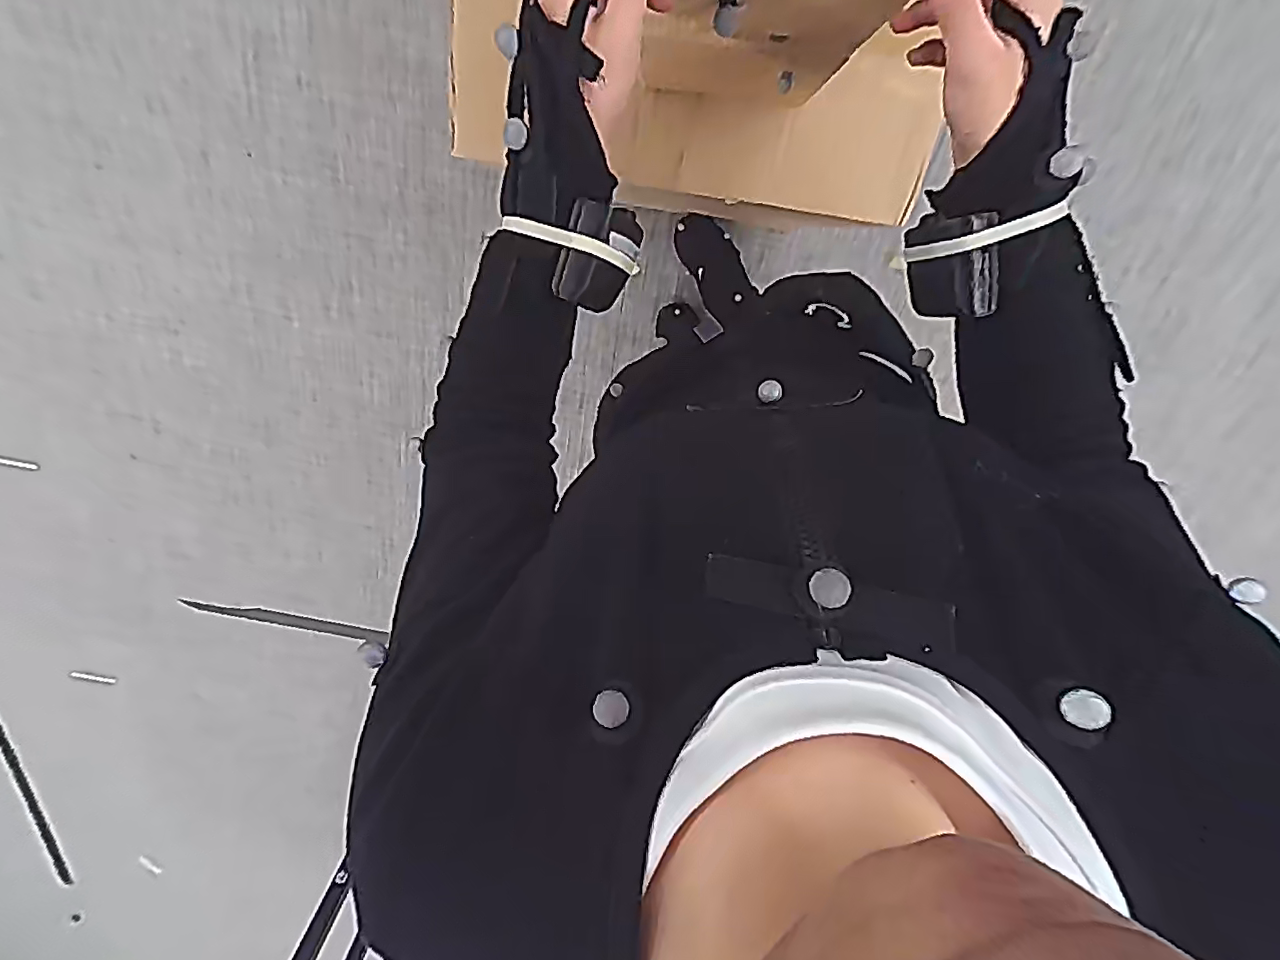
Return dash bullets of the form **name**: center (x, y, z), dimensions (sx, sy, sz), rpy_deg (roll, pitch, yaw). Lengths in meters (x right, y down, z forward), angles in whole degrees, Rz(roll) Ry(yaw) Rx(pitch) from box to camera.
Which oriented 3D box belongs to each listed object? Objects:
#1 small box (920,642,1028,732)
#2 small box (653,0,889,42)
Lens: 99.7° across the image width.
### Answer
- **small box**: center (0.949, 0.589, 1.554), dimensions (0.179, 0.176, 0.168), rpy_deg (9, 114, 0)
- **small box**: center (0.087, -0.378, 0.300), dimensions (0.168, 0.176, 0.179), rpy_deg (7, 115, 0)
